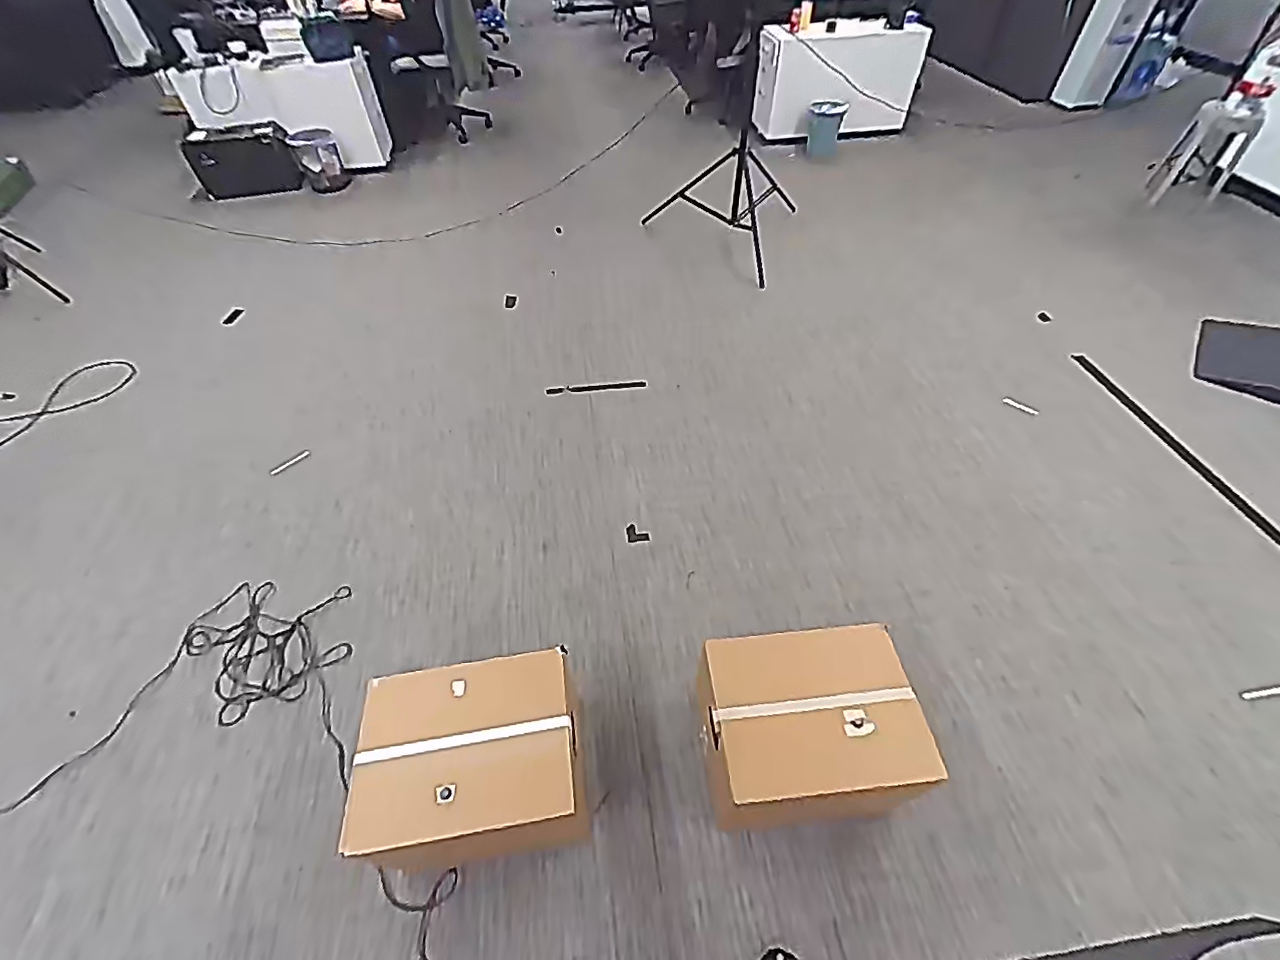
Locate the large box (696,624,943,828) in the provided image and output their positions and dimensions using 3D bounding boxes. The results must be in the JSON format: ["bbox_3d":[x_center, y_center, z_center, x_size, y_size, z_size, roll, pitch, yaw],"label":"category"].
[{"bbox_3d":[0.356,0.548,1.203,0.408,0.320,0.320,-4,50,-3],"label":"large box"}]
